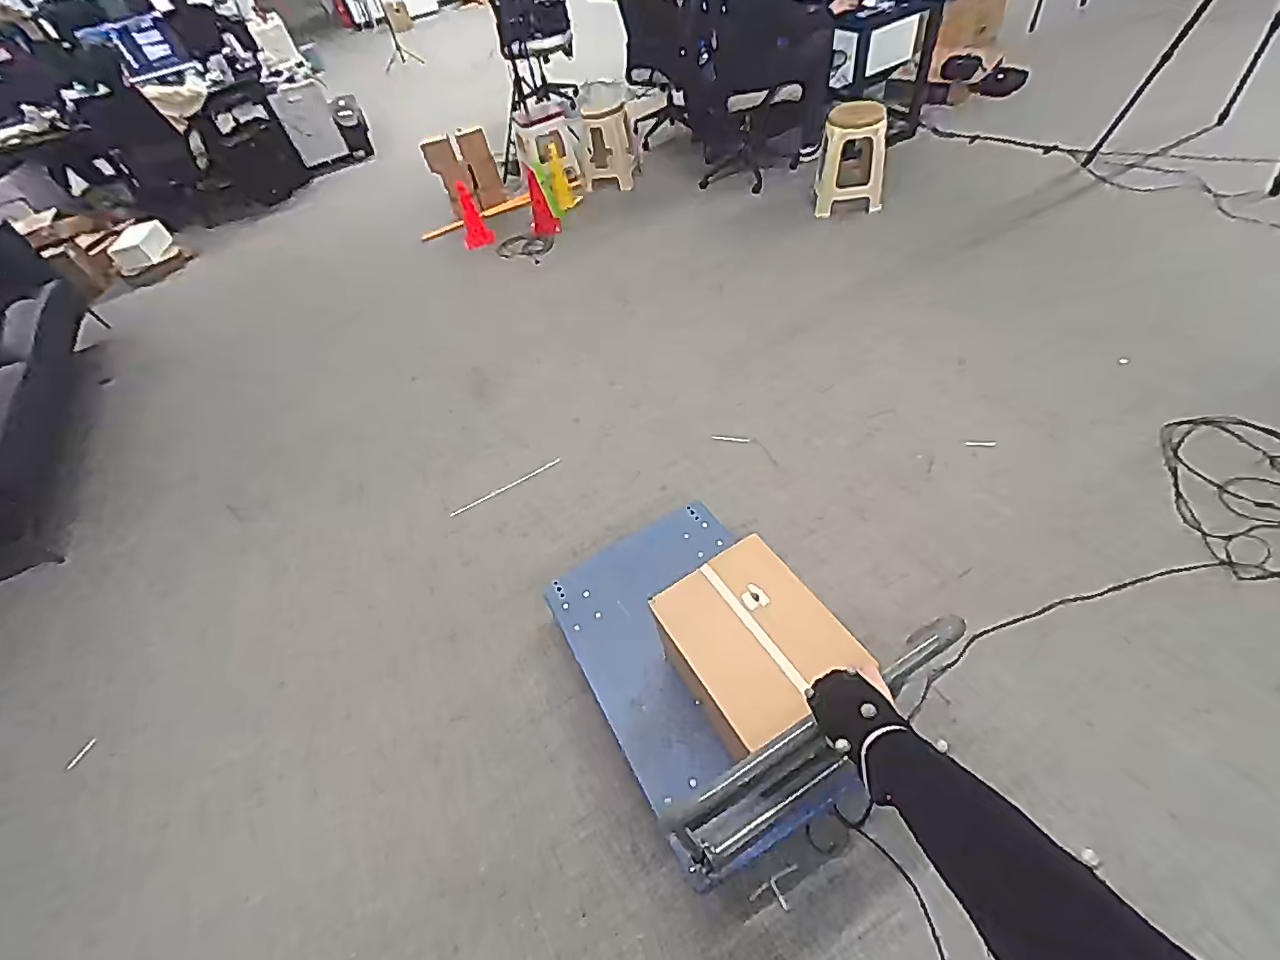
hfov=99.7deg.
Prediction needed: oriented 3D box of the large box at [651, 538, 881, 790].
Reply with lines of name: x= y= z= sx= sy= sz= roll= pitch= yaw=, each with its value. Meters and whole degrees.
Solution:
large box: x=0.280 y=0.425 z=1.268 sx=0.320 sy=0.320 sz=0.408 roll=-30 pitch=51 yaw=-13
